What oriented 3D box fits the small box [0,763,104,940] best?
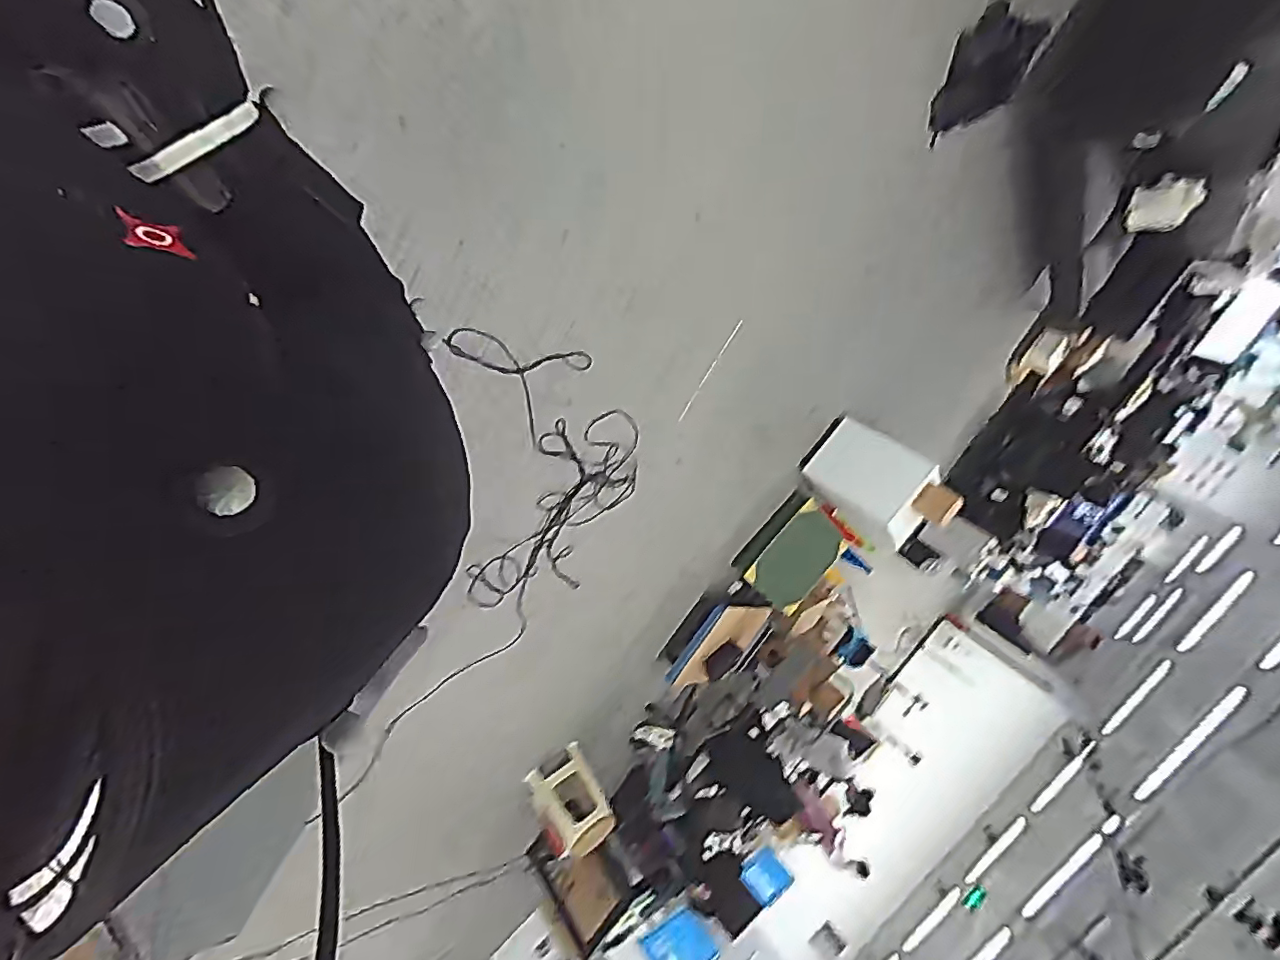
[{"bbox_3d":[-0.714,0.457,0.594,0.168,0.176,0.179,4,118,-48],"label":"small box"}]
